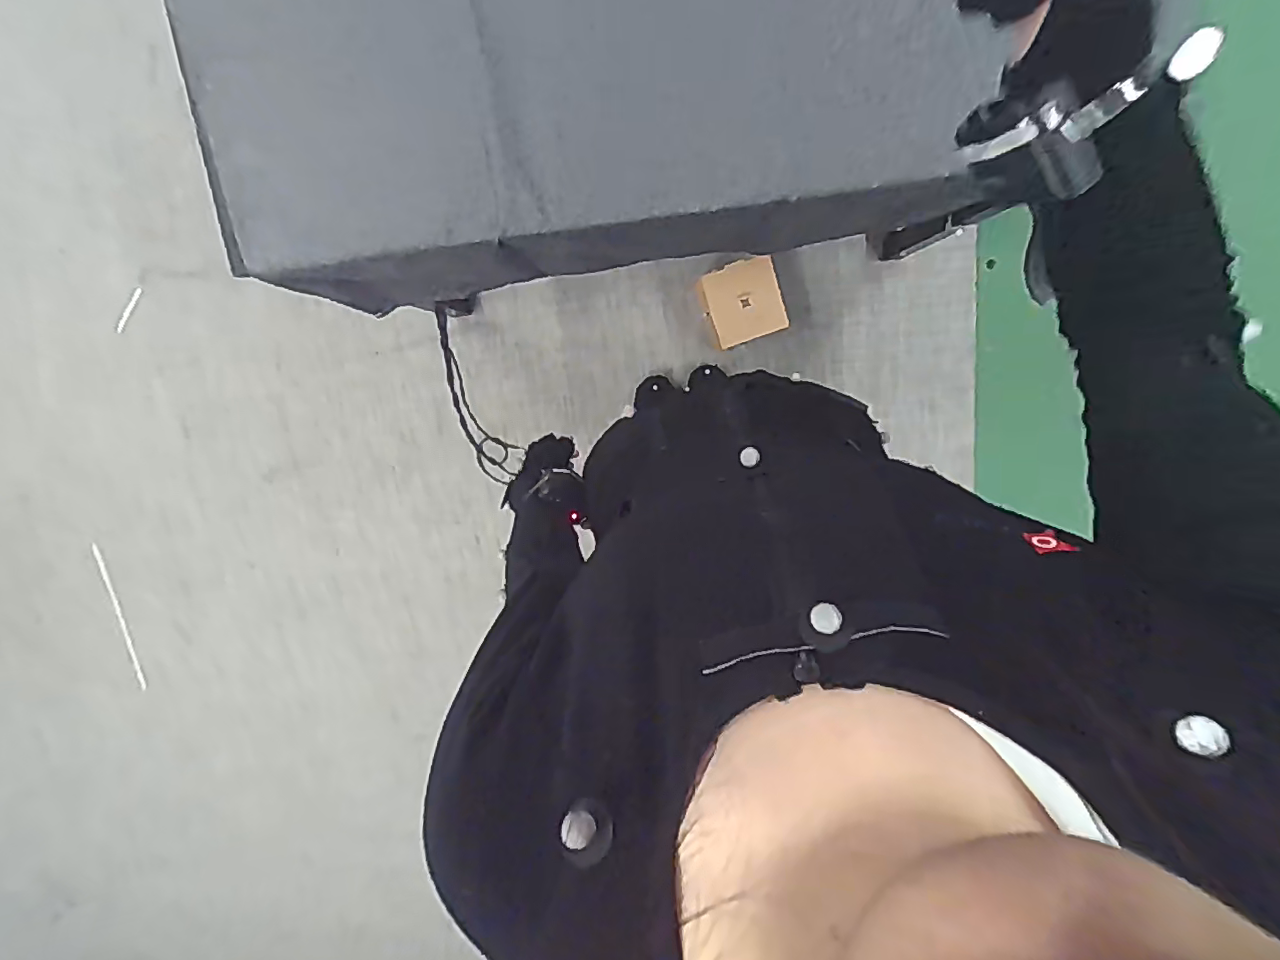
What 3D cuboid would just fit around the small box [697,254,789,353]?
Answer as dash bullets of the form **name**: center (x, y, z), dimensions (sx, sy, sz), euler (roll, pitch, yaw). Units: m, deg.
- **small box**: center (0.242, -0.421, 1.317), dimensions (0.168, 0.176, 0.179), euler (-18, 99, 5)
